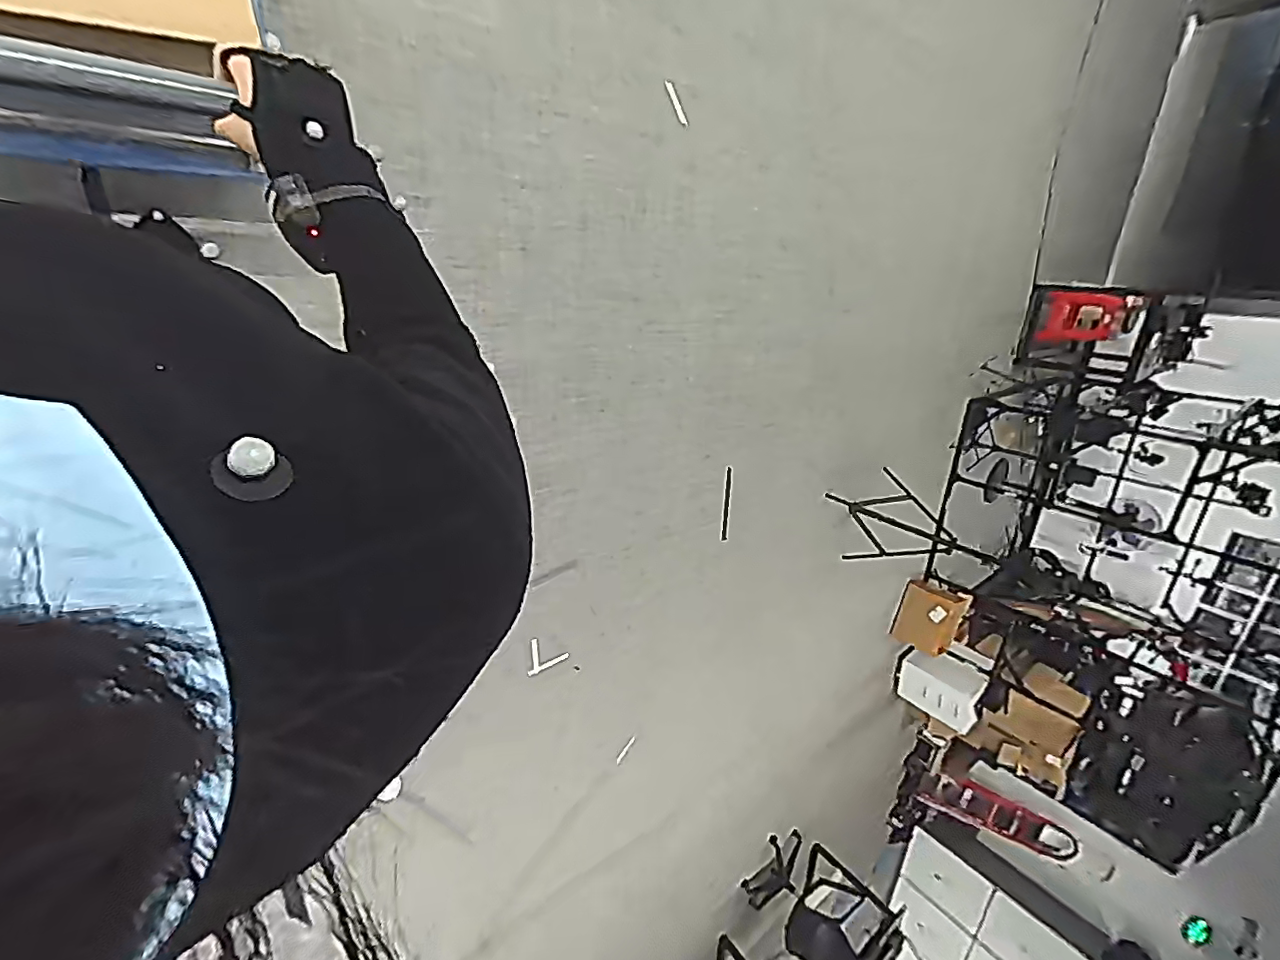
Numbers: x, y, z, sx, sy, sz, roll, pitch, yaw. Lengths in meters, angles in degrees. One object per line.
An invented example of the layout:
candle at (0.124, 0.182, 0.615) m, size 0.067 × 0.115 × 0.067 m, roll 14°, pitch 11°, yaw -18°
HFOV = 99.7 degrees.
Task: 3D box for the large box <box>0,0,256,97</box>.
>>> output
large box at (-0.776, -0.711, 0.669) m, size 0.408 × 0.320 × 0.320 m, roll -20°, pitch 120°, yaw -36°
